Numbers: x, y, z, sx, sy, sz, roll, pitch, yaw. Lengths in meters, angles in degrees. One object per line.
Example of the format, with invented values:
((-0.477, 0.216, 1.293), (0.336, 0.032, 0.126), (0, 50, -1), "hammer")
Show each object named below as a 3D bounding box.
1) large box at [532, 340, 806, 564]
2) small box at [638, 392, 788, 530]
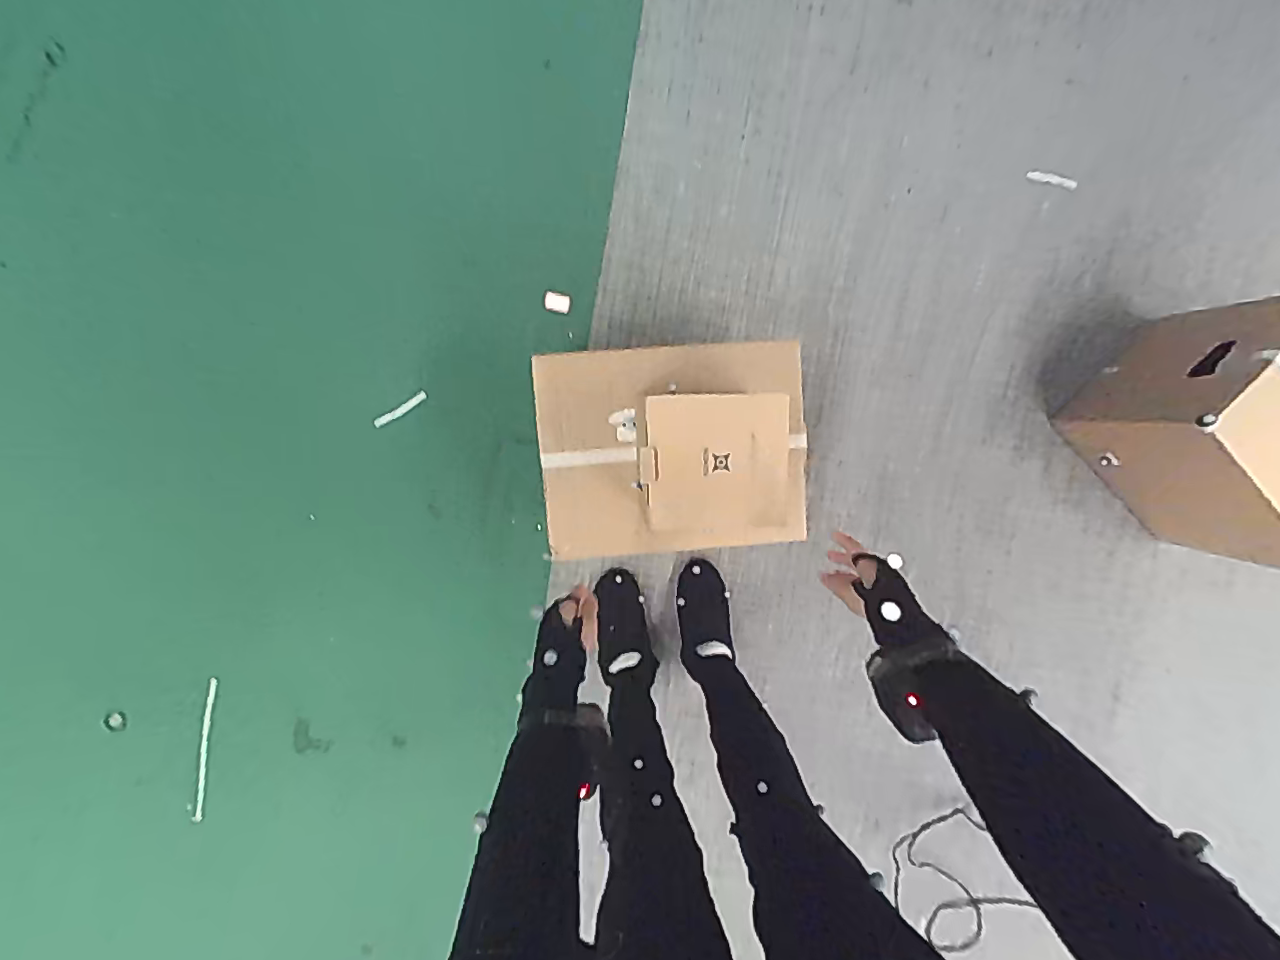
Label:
((0.045, -0.058, 0.971), (0.408, 0.320, 0.320), (-5, 96, -2), "large box")
((0.087, -0.032, 0.728), (0.179, 0.176, 0.168), (-2, 99, -4), "small box")
